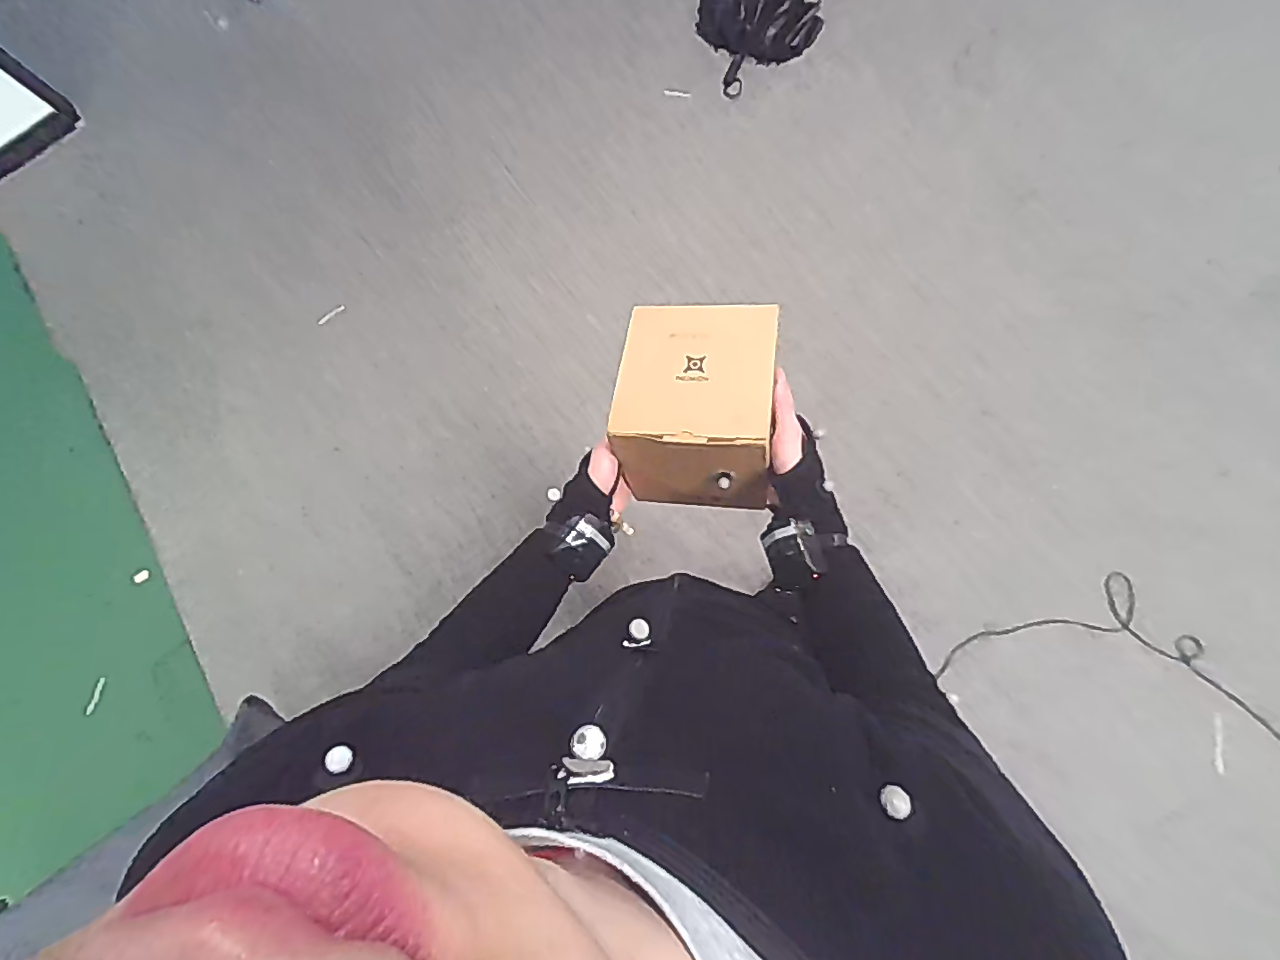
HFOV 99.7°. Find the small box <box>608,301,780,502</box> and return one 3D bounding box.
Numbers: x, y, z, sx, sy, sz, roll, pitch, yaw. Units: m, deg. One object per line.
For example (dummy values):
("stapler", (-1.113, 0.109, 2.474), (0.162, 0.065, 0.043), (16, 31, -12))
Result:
("small box", (0.072, -0.087, 0.639), (0.168, 0.176, 0.179), (5, 63, 12))
